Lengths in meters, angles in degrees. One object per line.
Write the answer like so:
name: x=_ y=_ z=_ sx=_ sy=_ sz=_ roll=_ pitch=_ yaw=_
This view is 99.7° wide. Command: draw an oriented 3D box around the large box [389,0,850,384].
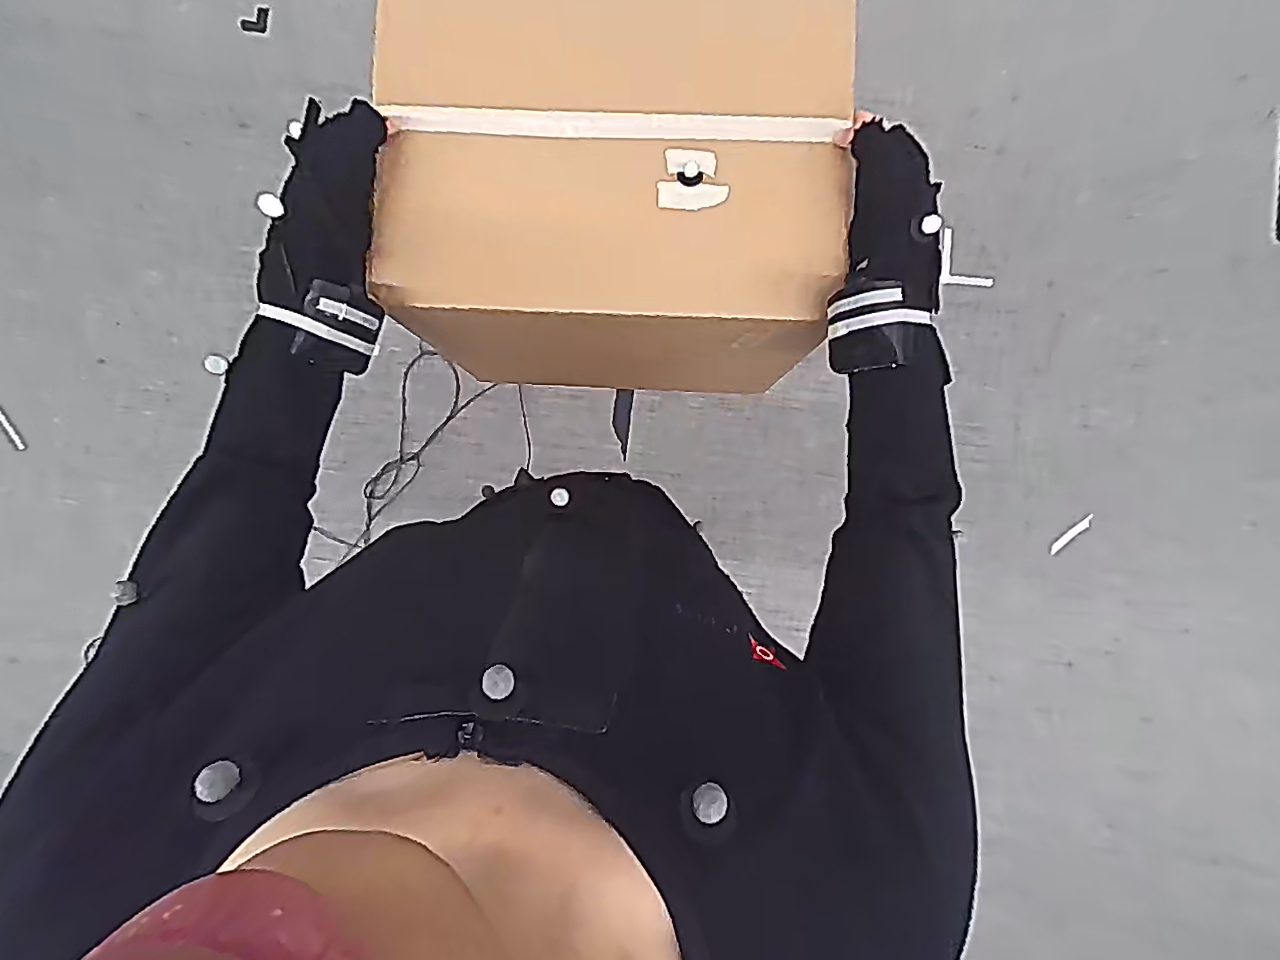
large box: x=-0.018 y=-0.297 z=0.620 sx=0.408 sy=0.320 sz=0.320 roll=2 pitch=88 yaw=0
